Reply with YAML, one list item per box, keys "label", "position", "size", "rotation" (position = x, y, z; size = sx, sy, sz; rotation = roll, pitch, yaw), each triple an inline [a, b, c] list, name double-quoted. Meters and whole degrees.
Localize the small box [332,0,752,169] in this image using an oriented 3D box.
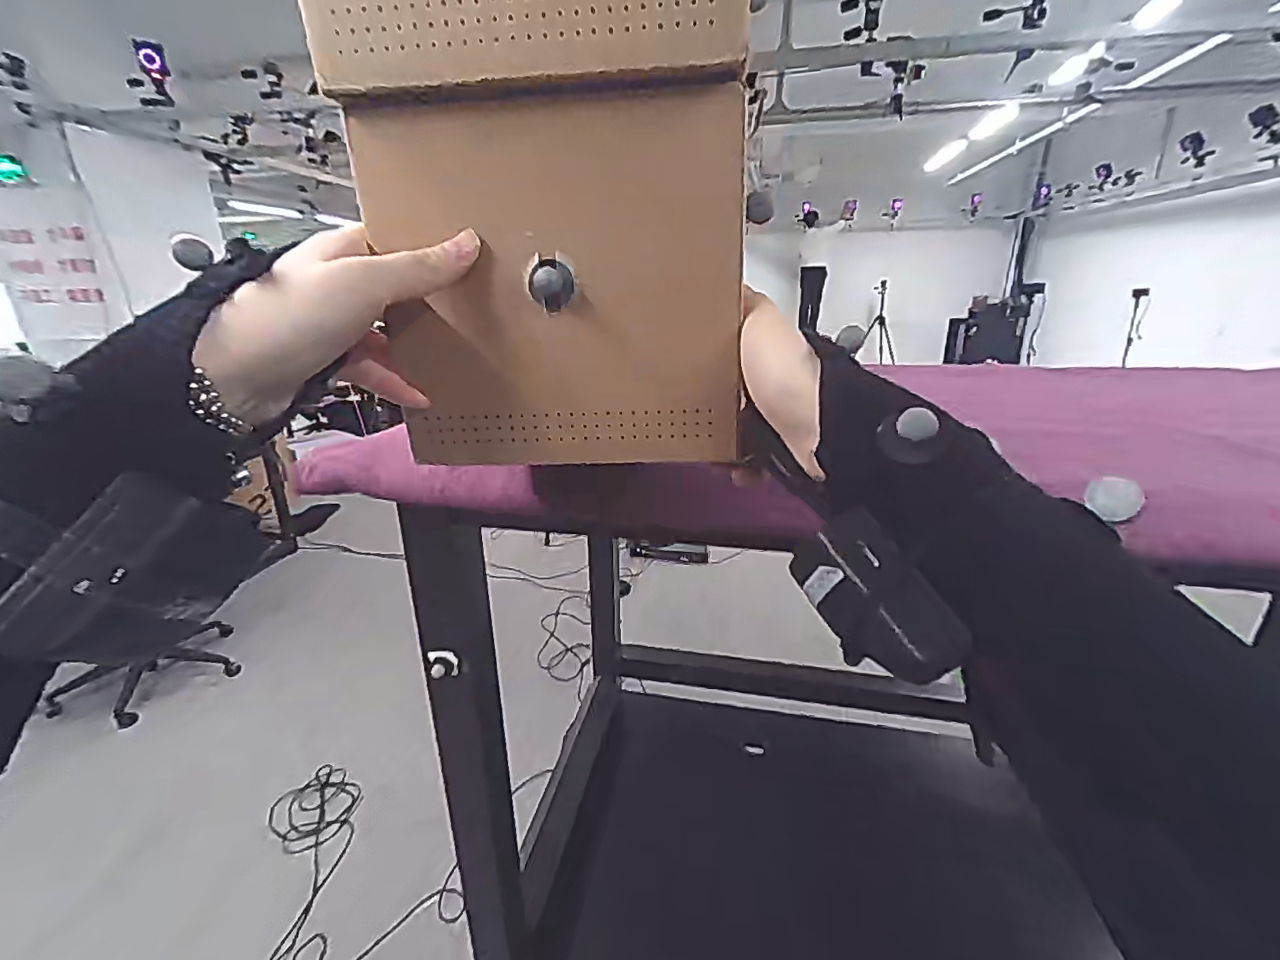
- label: "small box"
  position: [-0.038, -0.261, 0.266]
  size: [0.179, 0.176, 0.168]
  rotation: [0, 21, 5]
